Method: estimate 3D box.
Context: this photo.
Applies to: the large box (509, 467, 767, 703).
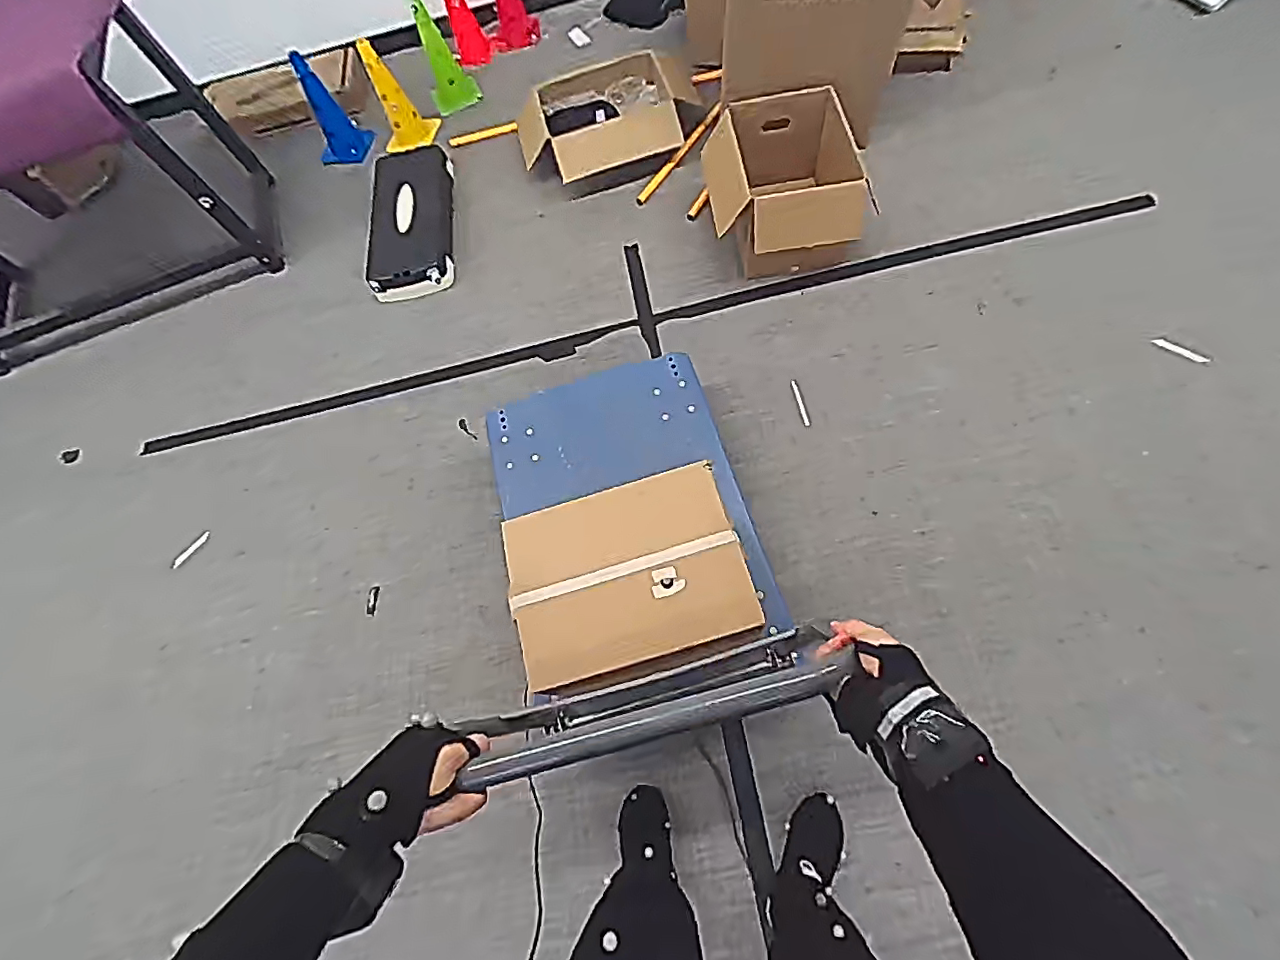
[{"bbox_3d":[0.000,0.227,1.081,0.408,0.320,0.320,-17,66,0],"label":"large box"}]
